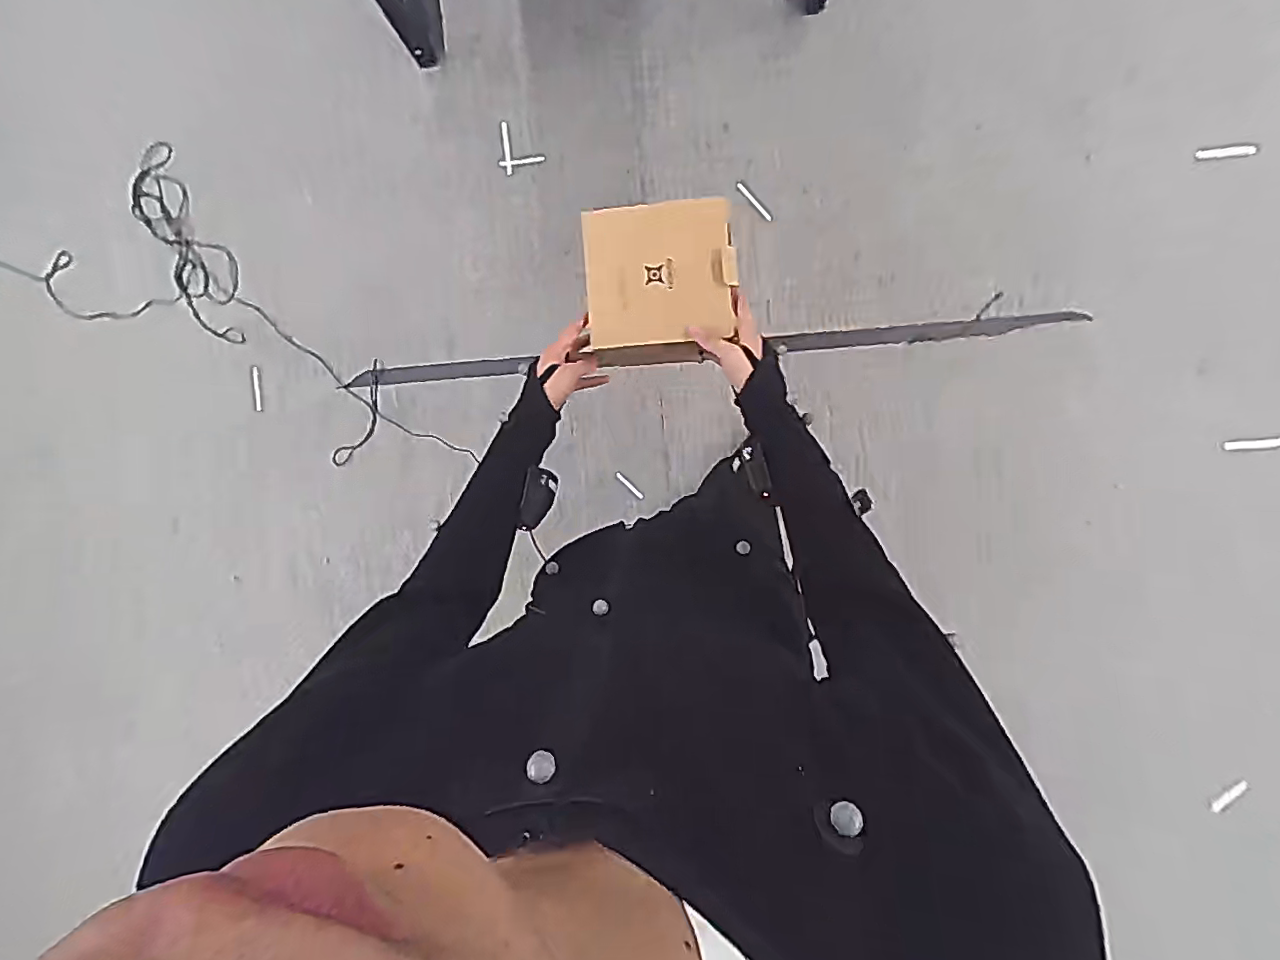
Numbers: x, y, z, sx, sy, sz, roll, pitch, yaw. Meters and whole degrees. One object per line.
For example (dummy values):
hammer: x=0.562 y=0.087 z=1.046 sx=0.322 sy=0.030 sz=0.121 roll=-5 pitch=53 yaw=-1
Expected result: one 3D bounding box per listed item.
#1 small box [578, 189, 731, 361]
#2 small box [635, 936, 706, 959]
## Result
small box: x=0.026 y=-0.258 z=0.719 sx=0.179 sy=0.176 sz=0.168 roll=-4 pitch=93 yaw=8
small box: x=0.073 y=1.175 z=1.206 sx=0.168 sy=0.176 sz=0.179 roll=-3 pitch=93 yaw=2
